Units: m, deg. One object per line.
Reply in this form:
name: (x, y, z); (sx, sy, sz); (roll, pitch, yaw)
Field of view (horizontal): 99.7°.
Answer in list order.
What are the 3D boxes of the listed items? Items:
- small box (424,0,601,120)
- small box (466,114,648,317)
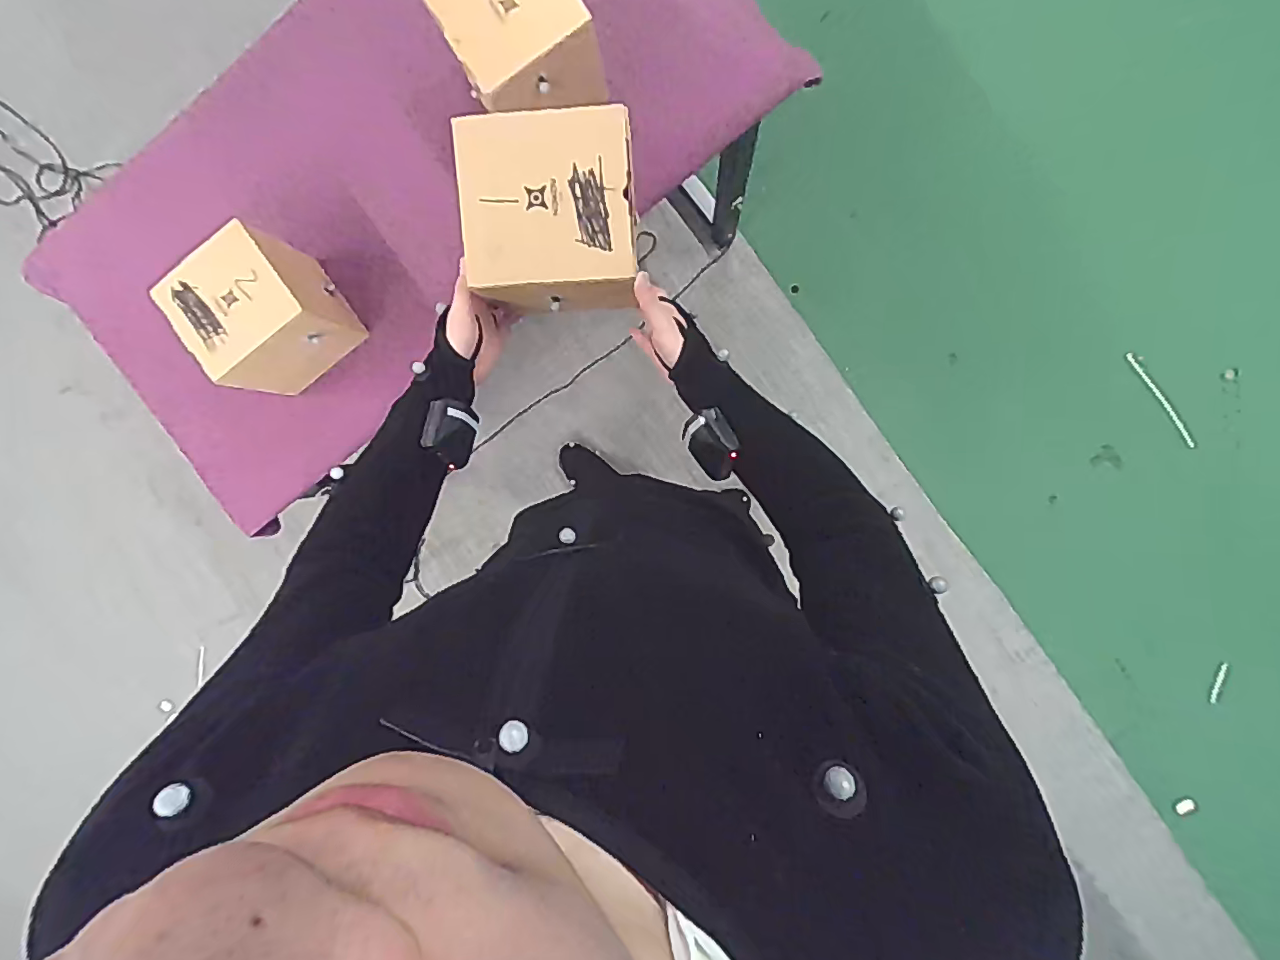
small box: (-0.171, -0.627, 0.795); (0.179, 0.176, 0.168); (-32, 91, 6)
small box: (-0.082, -0.286, 0.621); (0.179, 0.176, 0.168); (-3, 98, 2)
